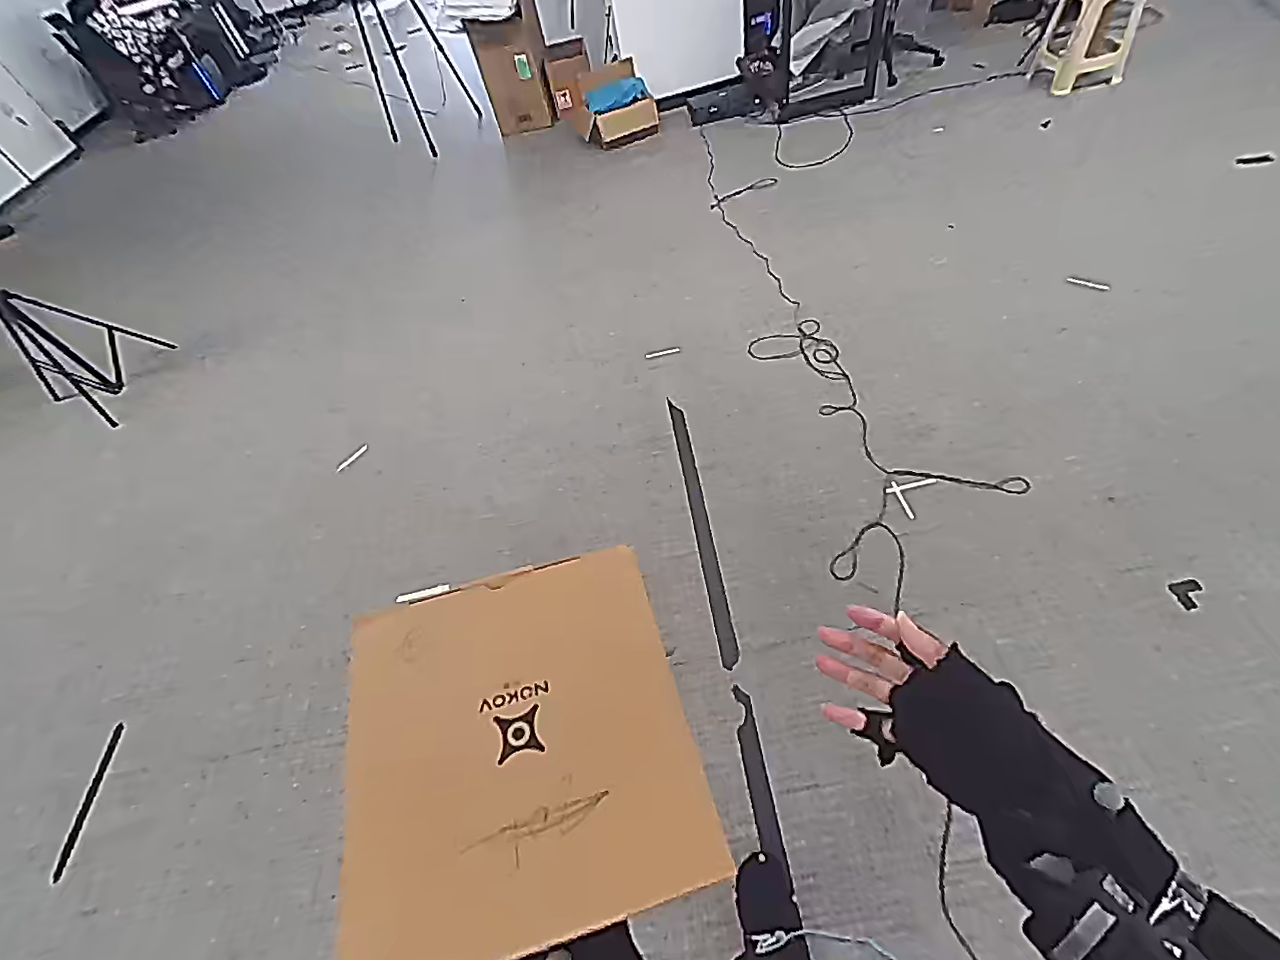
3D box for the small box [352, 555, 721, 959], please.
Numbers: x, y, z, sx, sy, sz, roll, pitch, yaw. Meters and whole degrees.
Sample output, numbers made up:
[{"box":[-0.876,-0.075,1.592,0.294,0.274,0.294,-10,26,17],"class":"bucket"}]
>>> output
[{"box":[-0.060,0.180,0.348,0.168,0.176,0.179,-15,52,-8],"class":"small box"}]
